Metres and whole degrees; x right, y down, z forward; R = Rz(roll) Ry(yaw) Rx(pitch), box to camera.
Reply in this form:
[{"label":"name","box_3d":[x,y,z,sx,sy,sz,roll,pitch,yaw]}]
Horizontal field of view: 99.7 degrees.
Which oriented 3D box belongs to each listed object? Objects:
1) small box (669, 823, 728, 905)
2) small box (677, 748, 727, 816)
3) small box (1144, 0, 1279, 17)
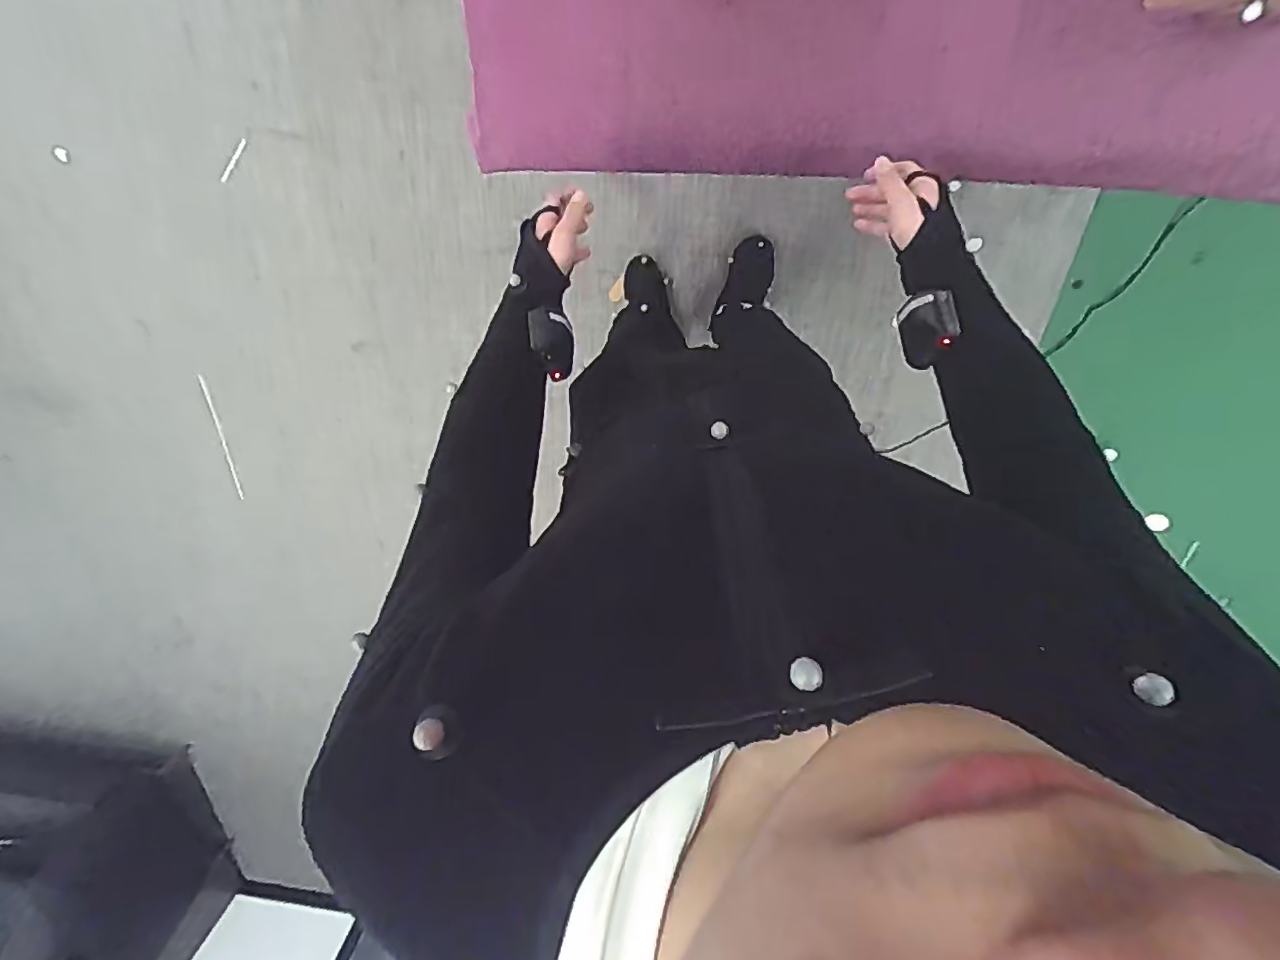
[{"label":"small box","box_3d":[0.212,1.371,1.937,0.179,0.176,0.168,12,116,3]},{"label":"small box","box_3d":[0.258,1.243,2.235,0.179,0.176,0.168,11,117,4]},{"label":"small box","box_3d":[0.632,-0.548,0.486,0.179,0.176,0.168,4,116,6]}]
